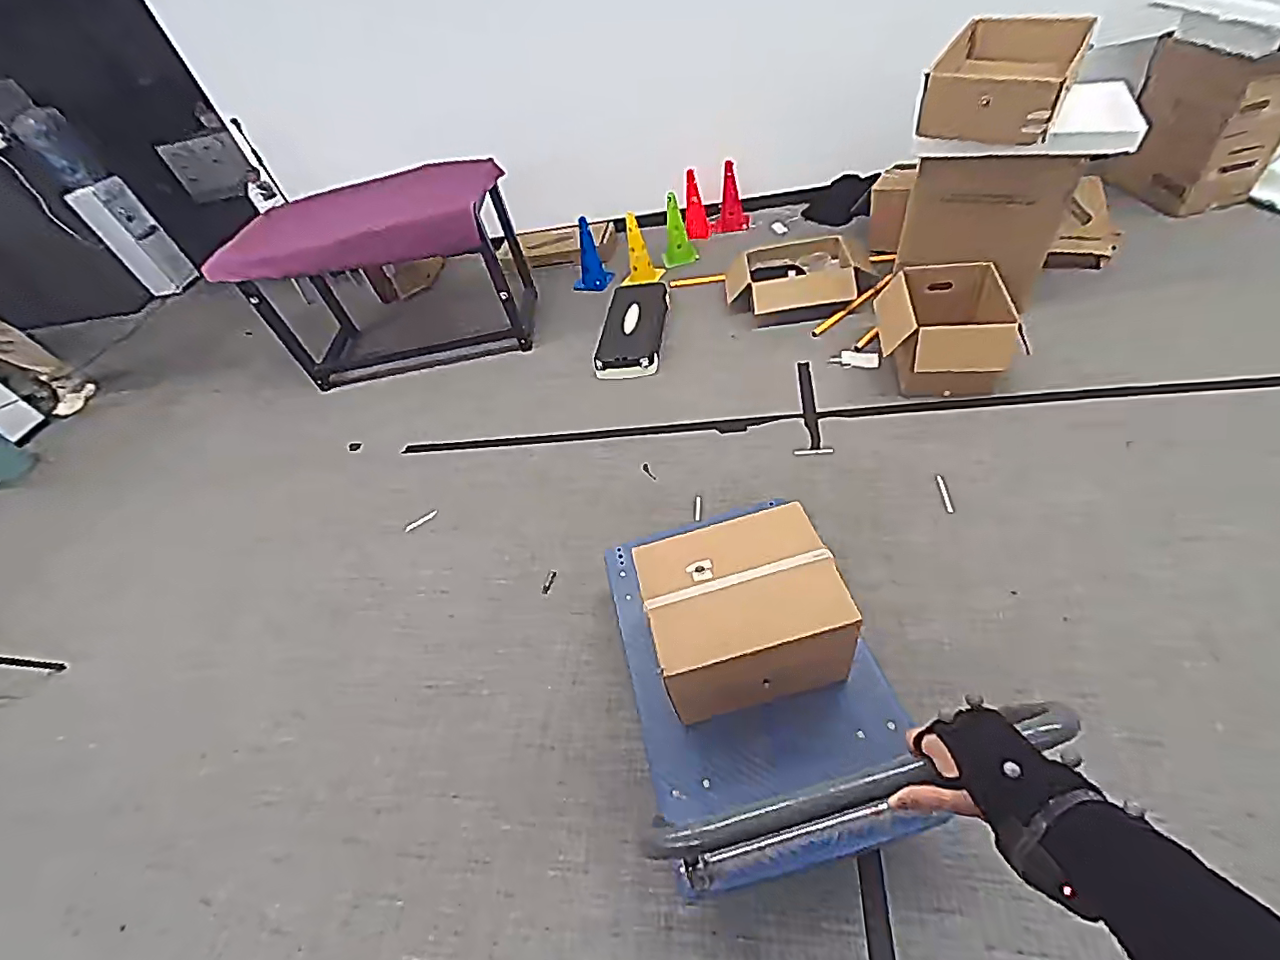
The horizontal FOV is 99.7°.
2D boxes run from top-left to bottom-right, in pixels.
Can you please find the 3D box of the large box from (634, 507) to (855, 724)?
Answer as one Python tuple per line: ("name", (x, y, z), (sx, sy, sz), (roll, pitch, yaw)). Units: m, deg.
("large box", (0.236, 0.324, 1.273), (0.408, 0.320, 0.320), (-17, 47, 1))
